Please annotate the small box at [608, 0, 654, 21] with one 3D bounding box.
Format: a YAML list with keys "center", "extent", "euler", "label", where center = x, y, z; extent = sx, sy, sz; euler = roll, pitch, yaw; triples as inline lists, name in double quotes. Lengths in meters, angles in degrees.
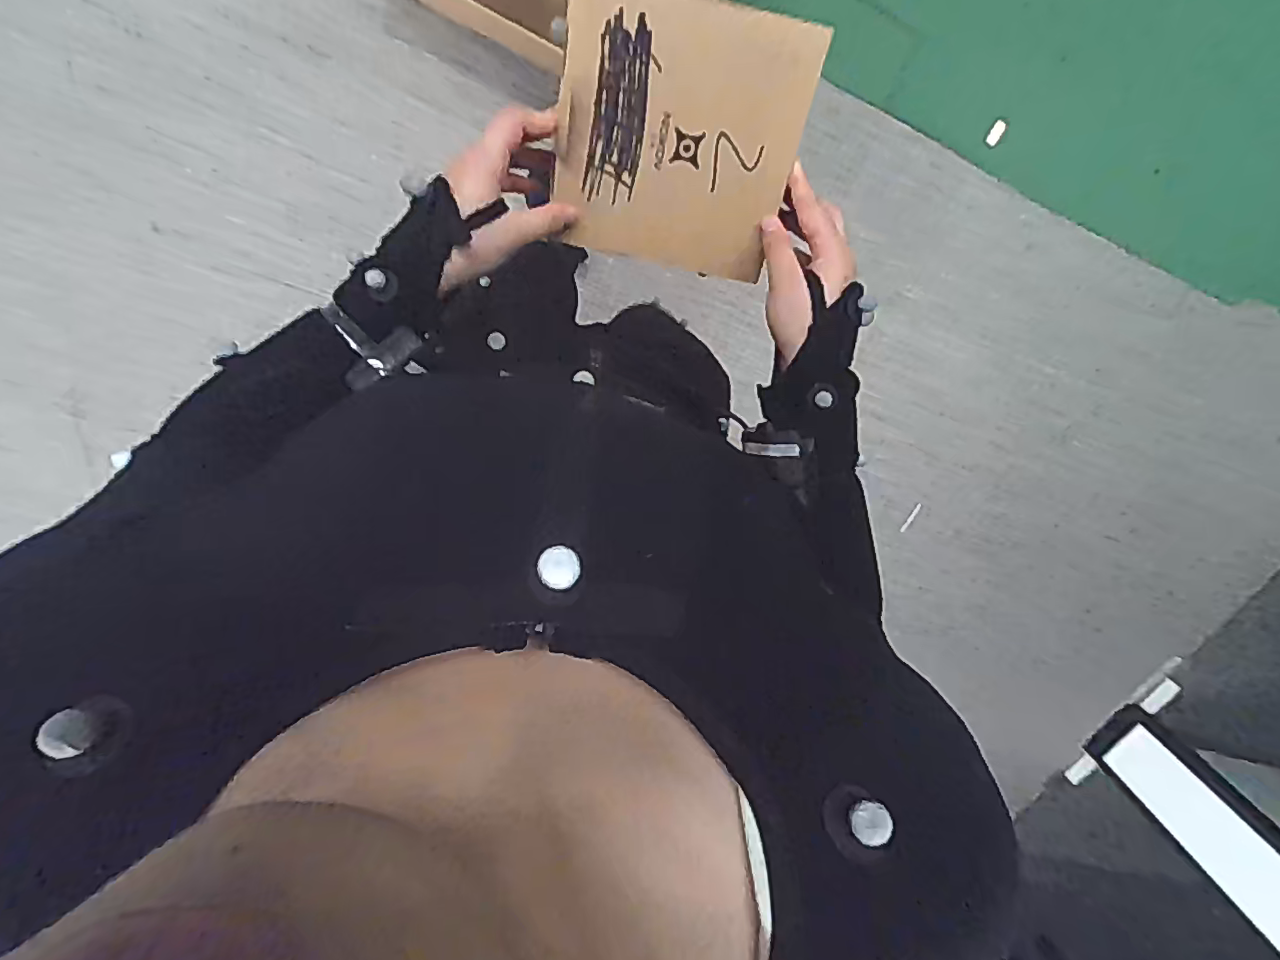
- center: [-0.018, -0.952, 0.929]
  extent: [0.168, 0.176, 0.179]
  euler: [23, 114, -16]
  label: "small box"
